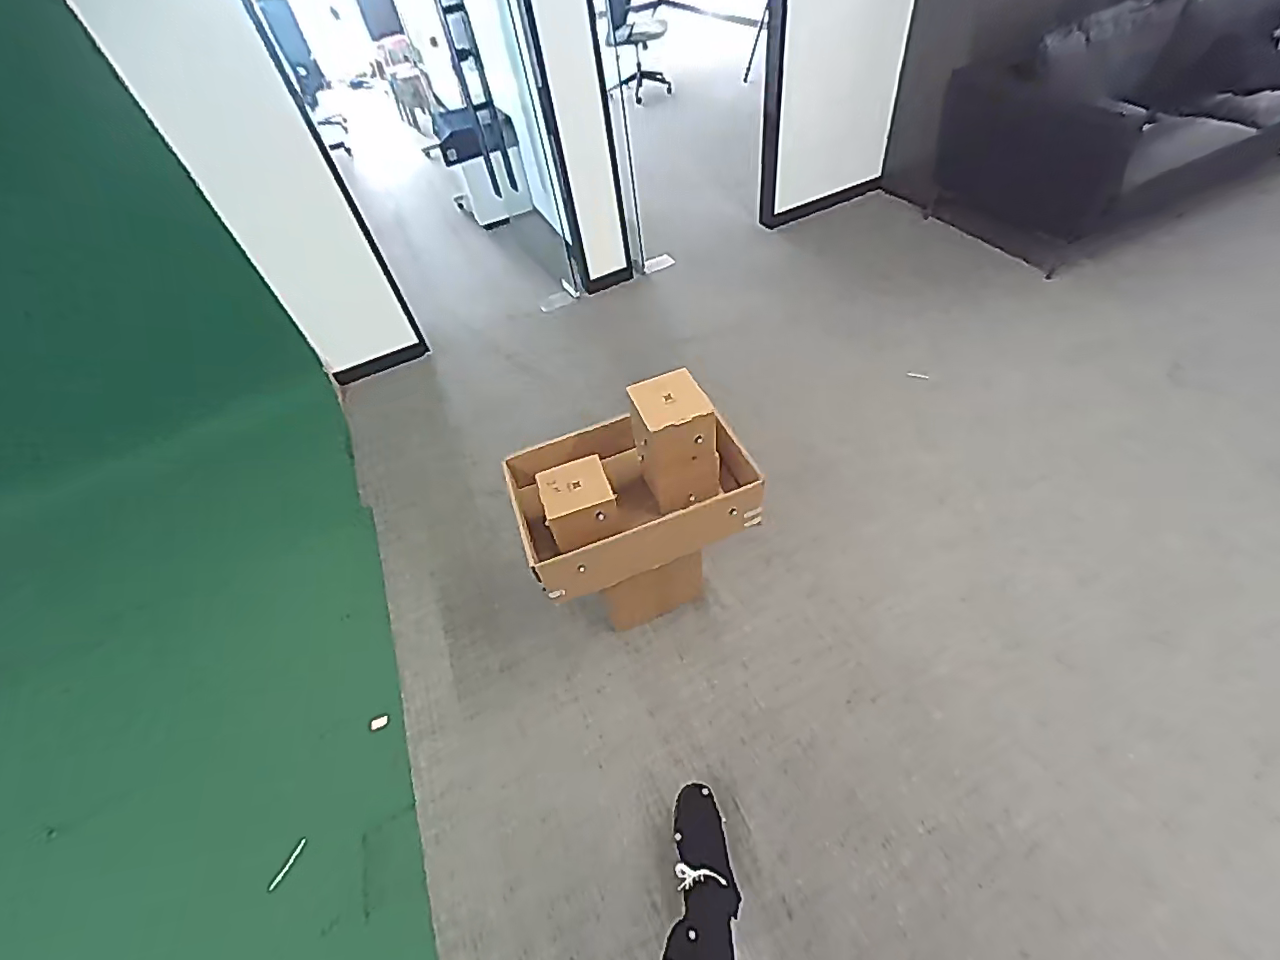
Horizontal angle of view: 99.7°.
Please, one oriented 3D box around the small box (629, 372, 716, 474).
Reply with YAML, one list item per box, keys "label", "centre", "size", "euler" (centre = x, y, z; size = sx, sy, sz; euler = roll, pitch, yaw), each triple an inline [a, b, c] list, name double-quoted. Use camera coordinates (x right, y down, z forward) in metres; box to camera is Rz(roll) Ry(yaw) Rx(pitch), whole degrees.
- label: "small box"
  centre: [0.085, -0.135, 1.353]
  size: [0.168, 0.176, 0.179]
  euler: [-19, 49, -8]
